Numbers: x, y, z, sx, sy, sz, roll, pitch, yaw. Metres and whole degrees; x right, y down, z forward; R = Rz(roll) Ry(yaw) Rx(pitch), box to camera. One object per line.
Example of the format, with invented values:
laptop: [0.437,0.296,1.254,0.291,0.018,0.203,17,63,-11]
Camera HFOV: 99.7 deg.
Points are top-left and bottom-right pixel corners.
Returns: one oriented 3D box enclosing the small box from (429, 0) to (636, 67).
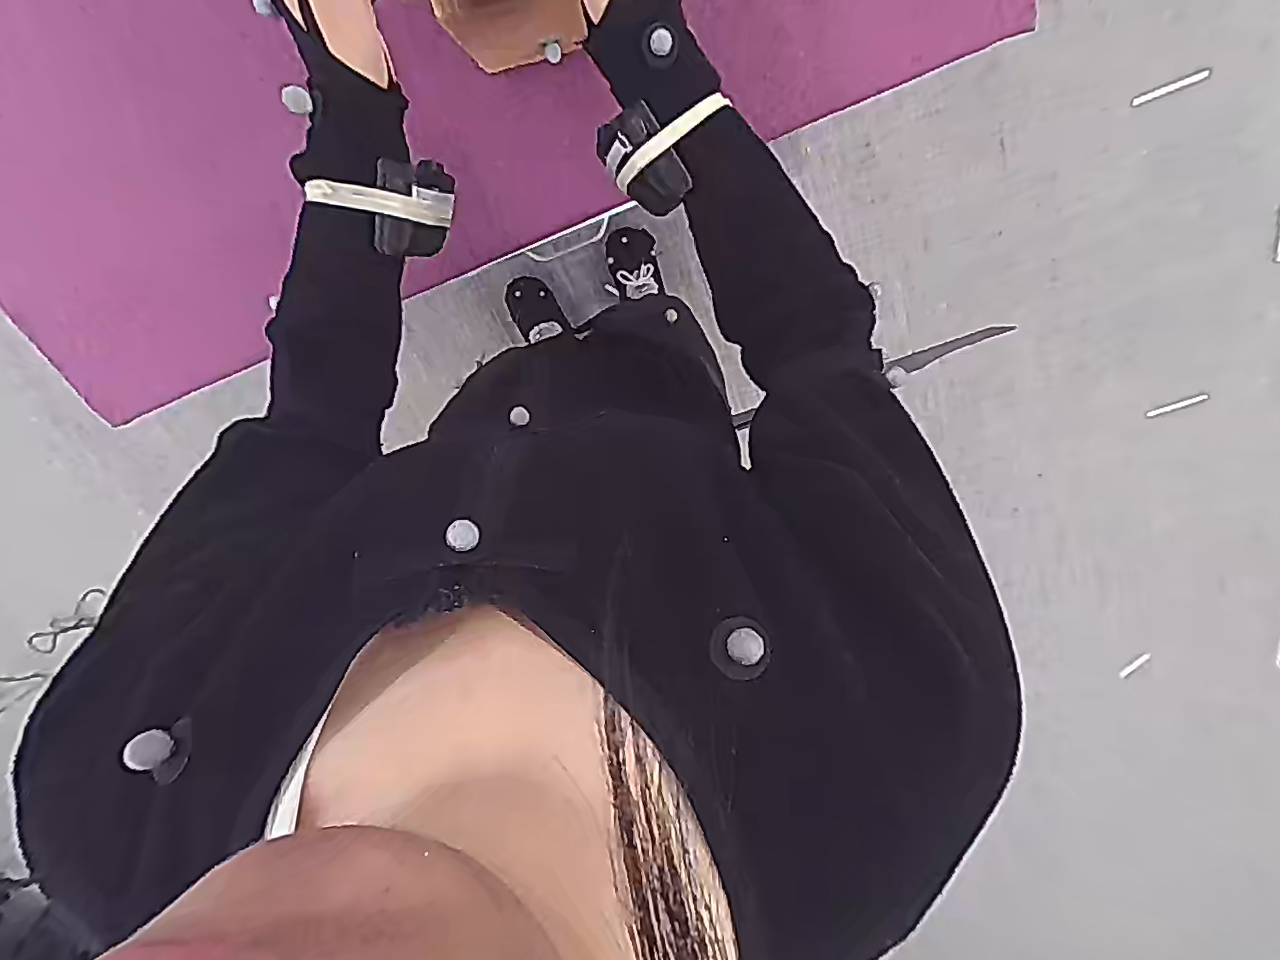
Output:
small box: [-0.099,-0.486,0.452,0.168,0.176,0.179,-10,116,5]
